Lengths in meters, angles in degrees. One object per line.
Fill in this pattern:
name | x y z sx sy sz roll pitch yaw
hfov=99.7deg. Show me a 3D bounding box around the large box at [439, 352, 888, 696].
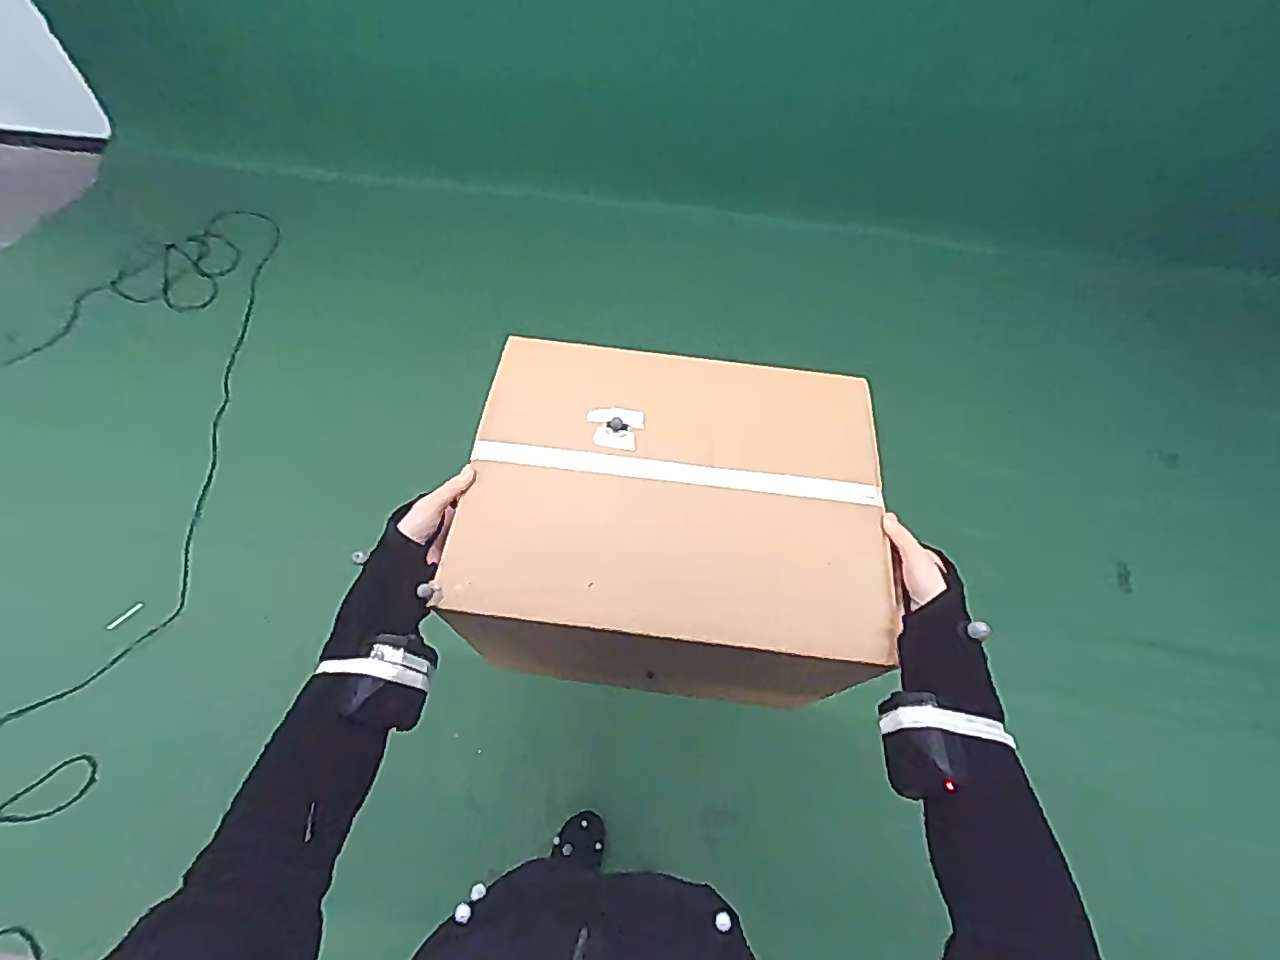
large box | 0.031 0.074 0.674 0.408 0.320 0.320 6 60 2
